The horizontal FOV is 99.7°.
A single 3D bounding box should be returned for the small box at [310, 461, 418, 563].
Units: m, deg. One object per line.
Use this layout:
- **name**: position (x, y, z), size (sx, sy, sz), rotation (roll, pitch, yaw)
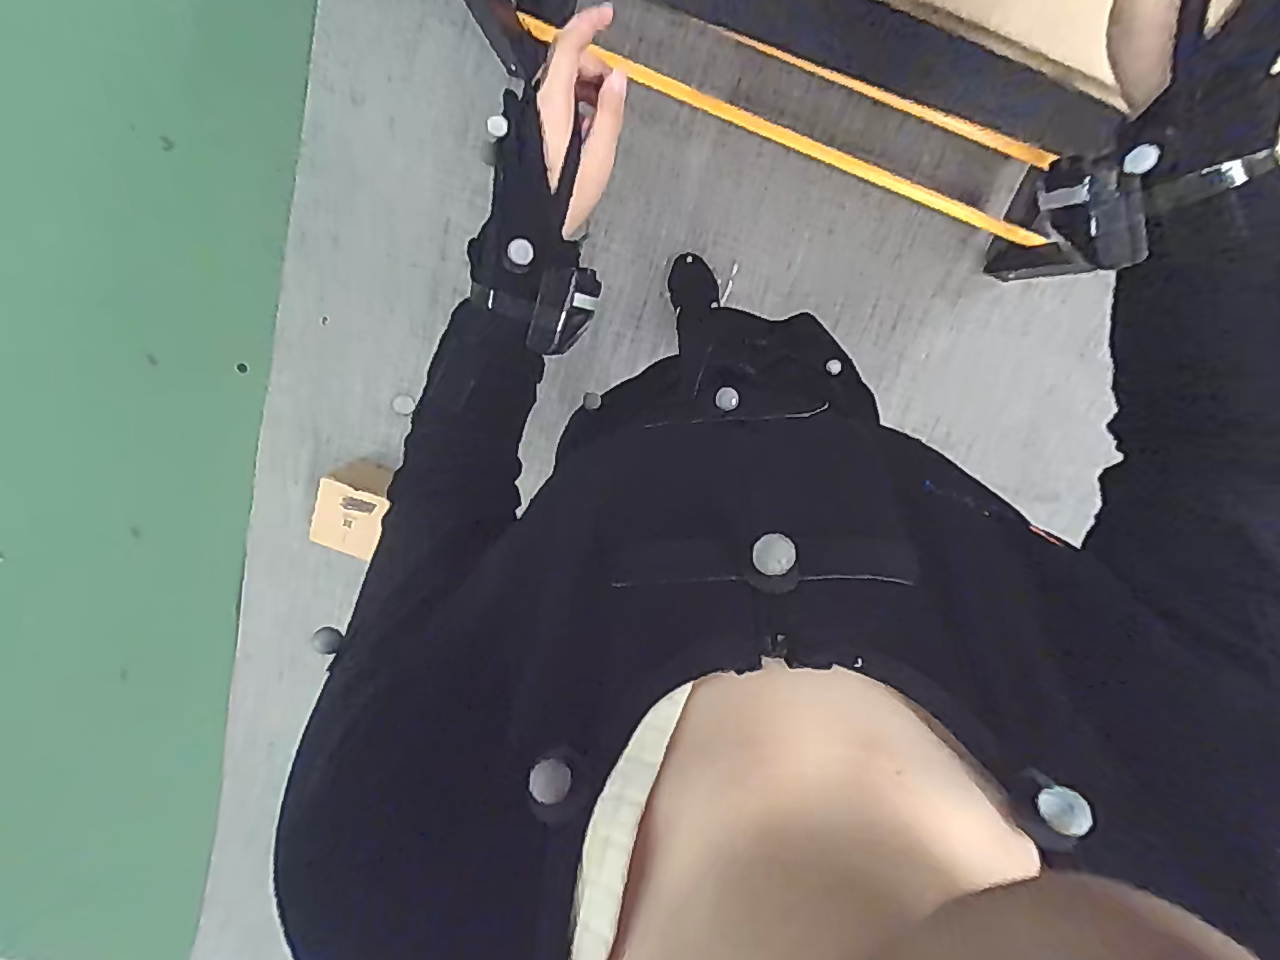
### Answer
- **small box**: position (-0.674, 0.071, 1.339), size (0.168, 0.176, 0.179), rotation (21, 107, -4)
